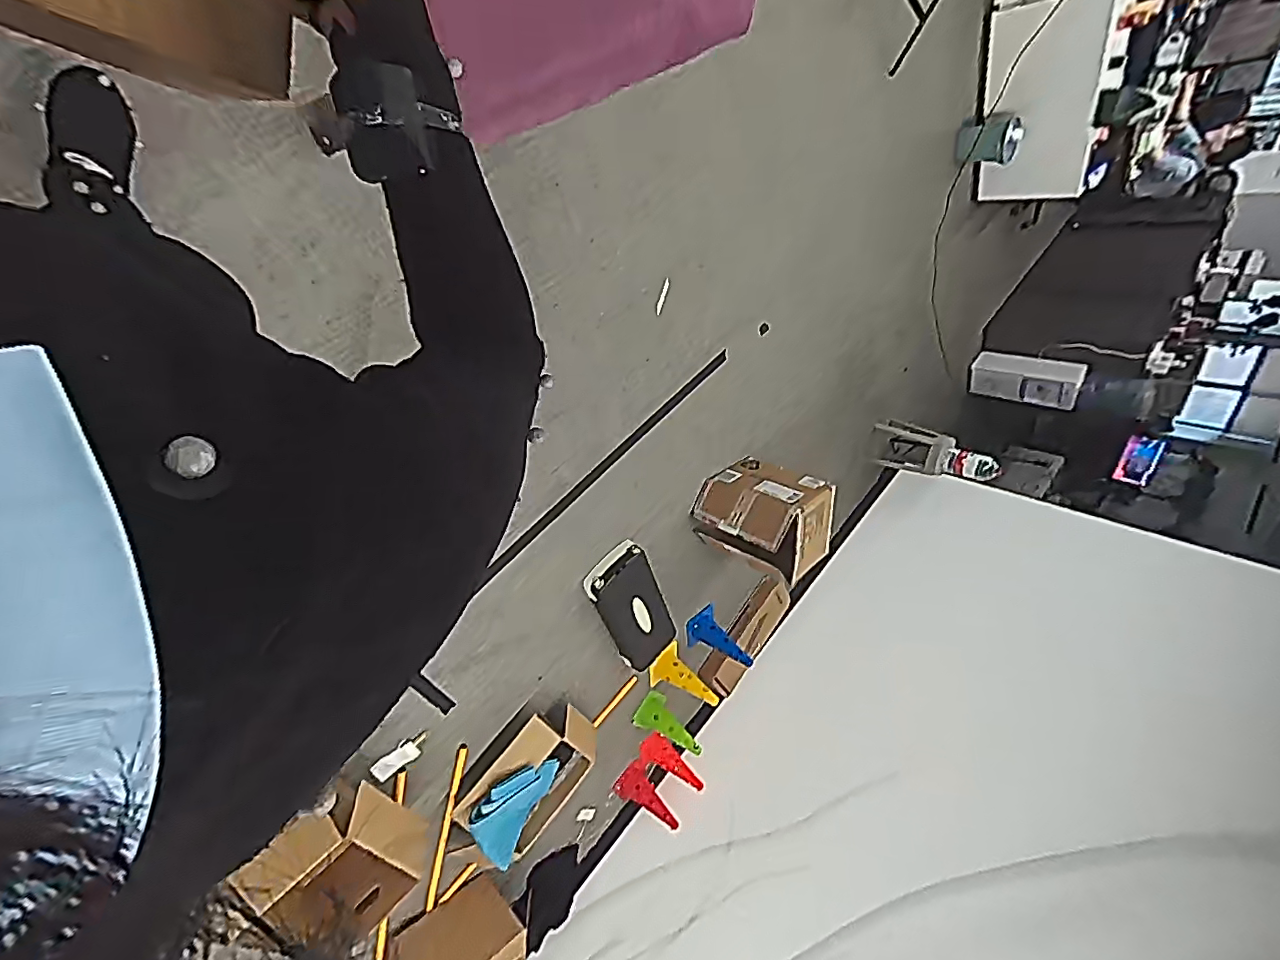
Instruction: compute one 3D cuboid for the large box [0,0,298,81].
[{"bbox_3d":[-0.453,-0.478,0.298,0.408,0.320,0.320,-6,118,-45],"label":"large box"}]
